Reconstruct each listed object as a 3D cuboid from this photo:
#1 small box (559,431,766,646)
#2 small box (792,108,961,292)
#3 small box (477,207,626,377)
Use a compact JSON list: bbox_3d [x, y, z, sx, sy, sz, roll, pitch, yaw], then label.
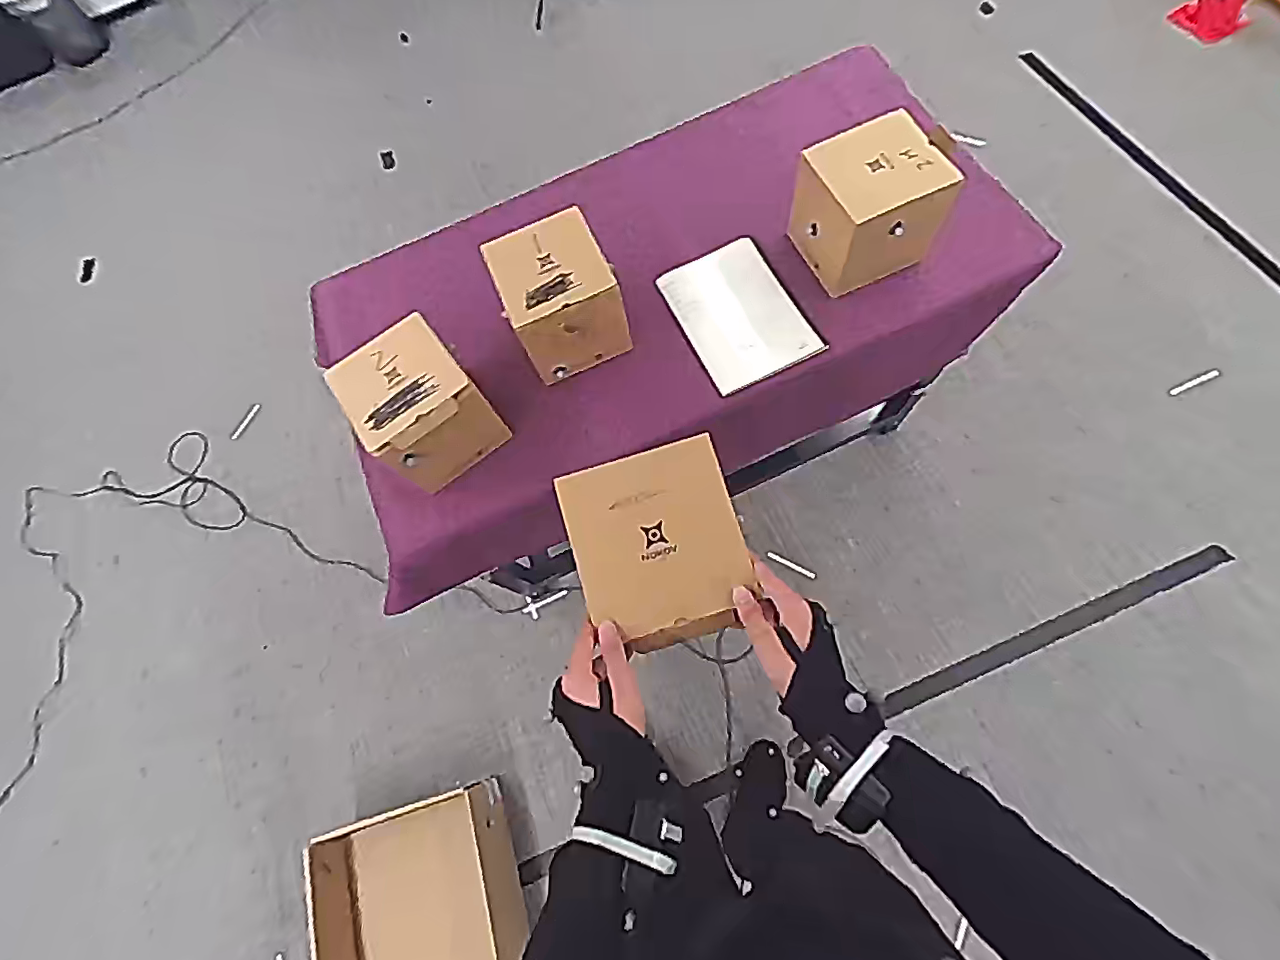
[{"bbox_3d":[0.024,0.066,0.599,0.168,0.176,0.179,-16,80,-1],"label":"small box"},{"bbox_3d":[0.358,-0.437,0.866,0.179,0.176,0.168,-24,70,-2],"label":"small box"},{"bbox_3d":[-0.134,-0.291,0.876,0.168,0.176,0.179,-24,69,-2],"label":"small box"}]
